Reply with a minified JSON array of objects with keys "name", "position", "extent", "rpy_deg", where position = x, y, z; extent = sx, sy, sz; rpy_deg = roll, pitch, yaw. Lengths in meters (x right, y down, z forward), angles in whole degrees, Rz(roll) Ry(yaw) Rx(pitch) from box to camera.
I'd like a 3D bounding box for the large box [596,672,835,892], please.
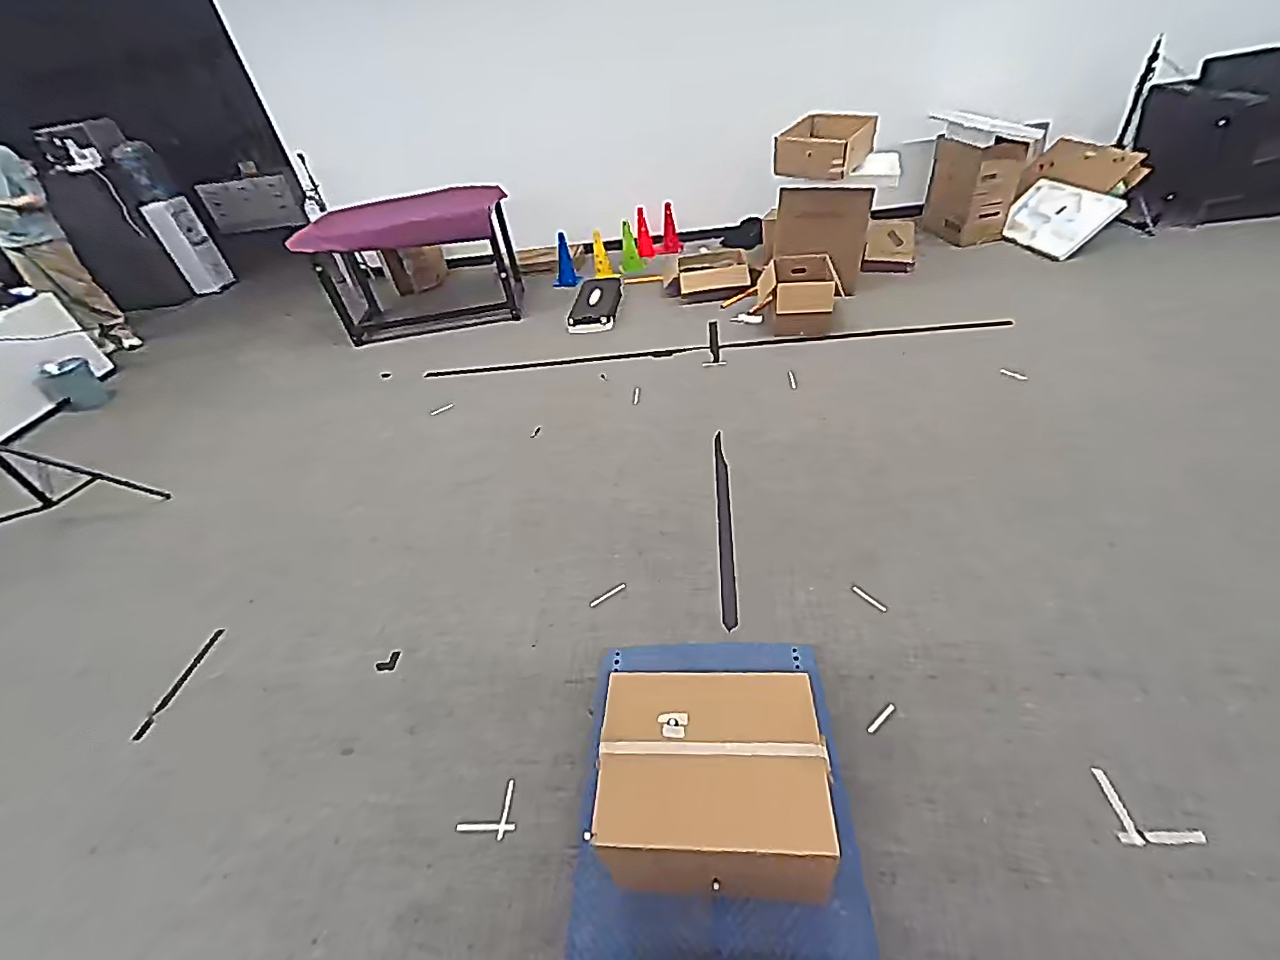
[{"name":"large box","position":[0.150,0.619,1.105],"extent":[0.408,0.320,0.320],"rpy_deg":[-4,40,8]}]
